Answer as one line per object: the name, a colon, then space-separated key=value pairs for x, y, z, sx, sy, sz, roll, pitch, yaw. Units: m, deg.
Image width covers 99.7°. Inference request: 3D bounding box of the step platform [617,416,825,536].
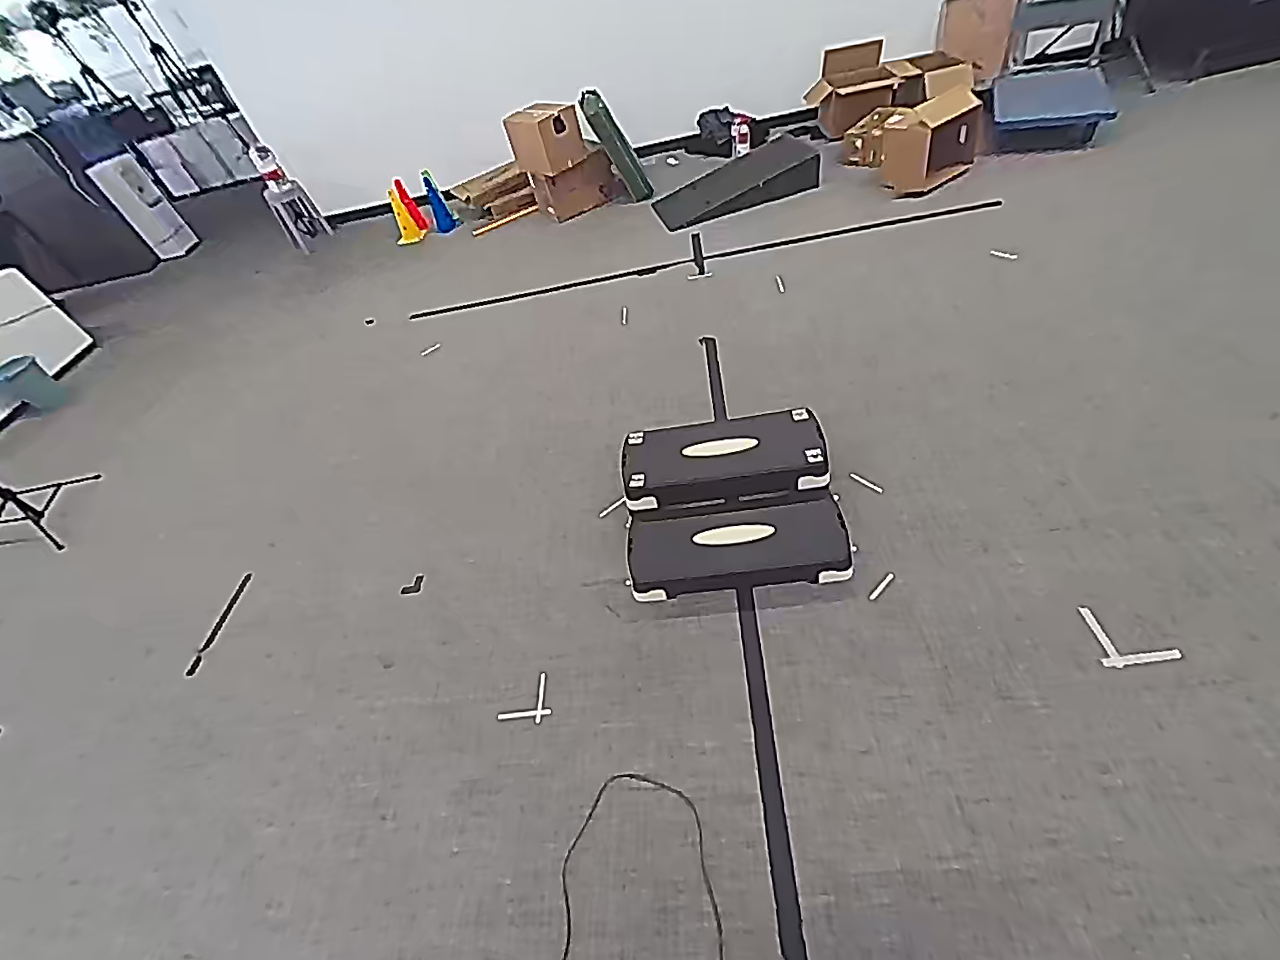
step platform: x=0.262 y=-0.016 z=1.830 sx=0.684 sy=0.204 sz=0.286 roll=-8 pitch=47 yaw=7
